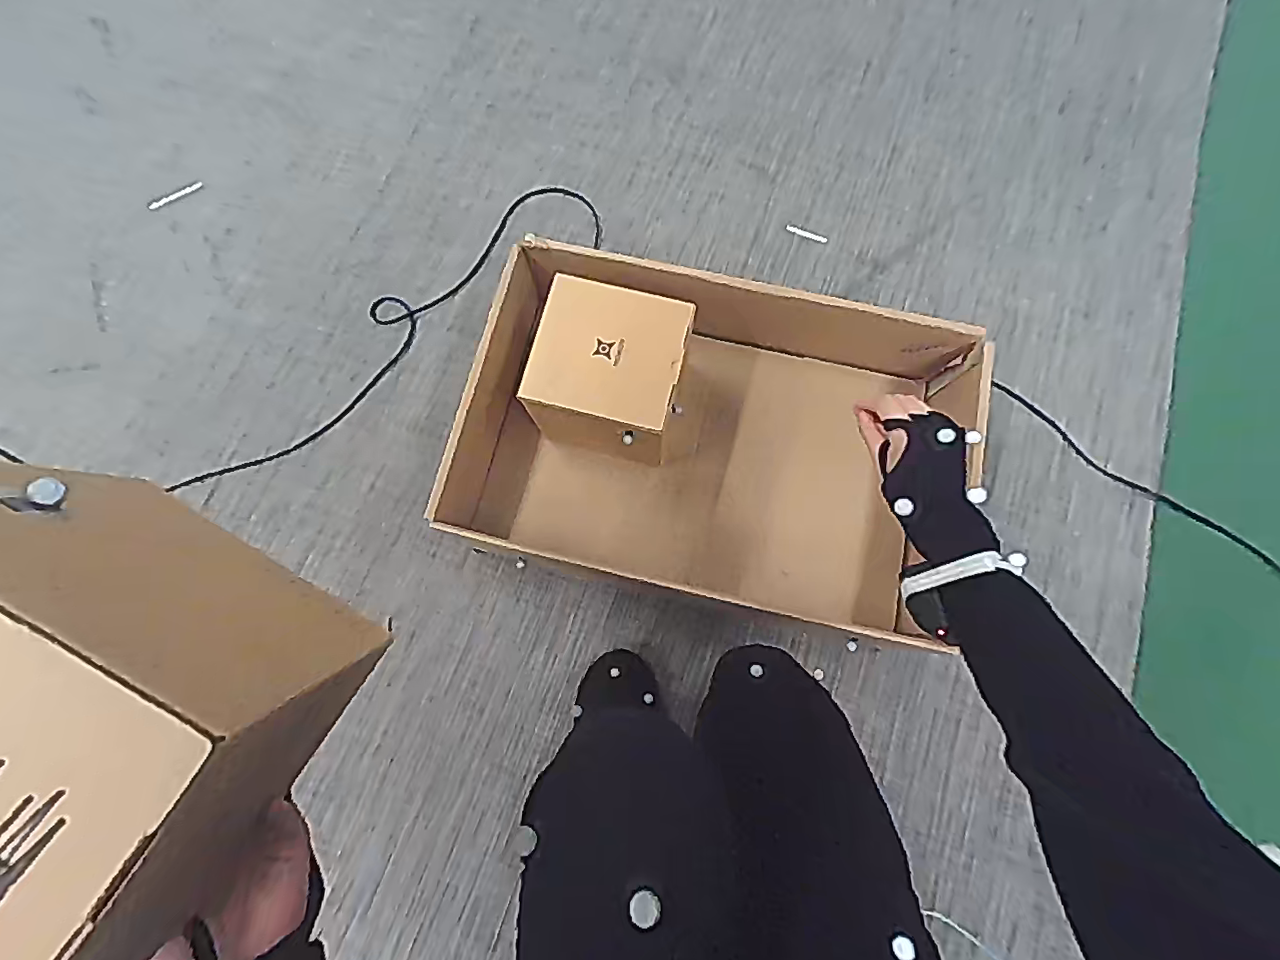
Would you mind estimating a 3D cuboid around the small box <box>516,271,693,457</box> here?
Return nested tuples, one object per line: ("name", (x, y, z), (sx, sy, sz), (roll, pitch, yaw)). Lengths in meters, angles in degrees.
("small box", (-0.039, -0.139, 0.707), (0.179, 0.176, 0.168), (14, 79, 3))
